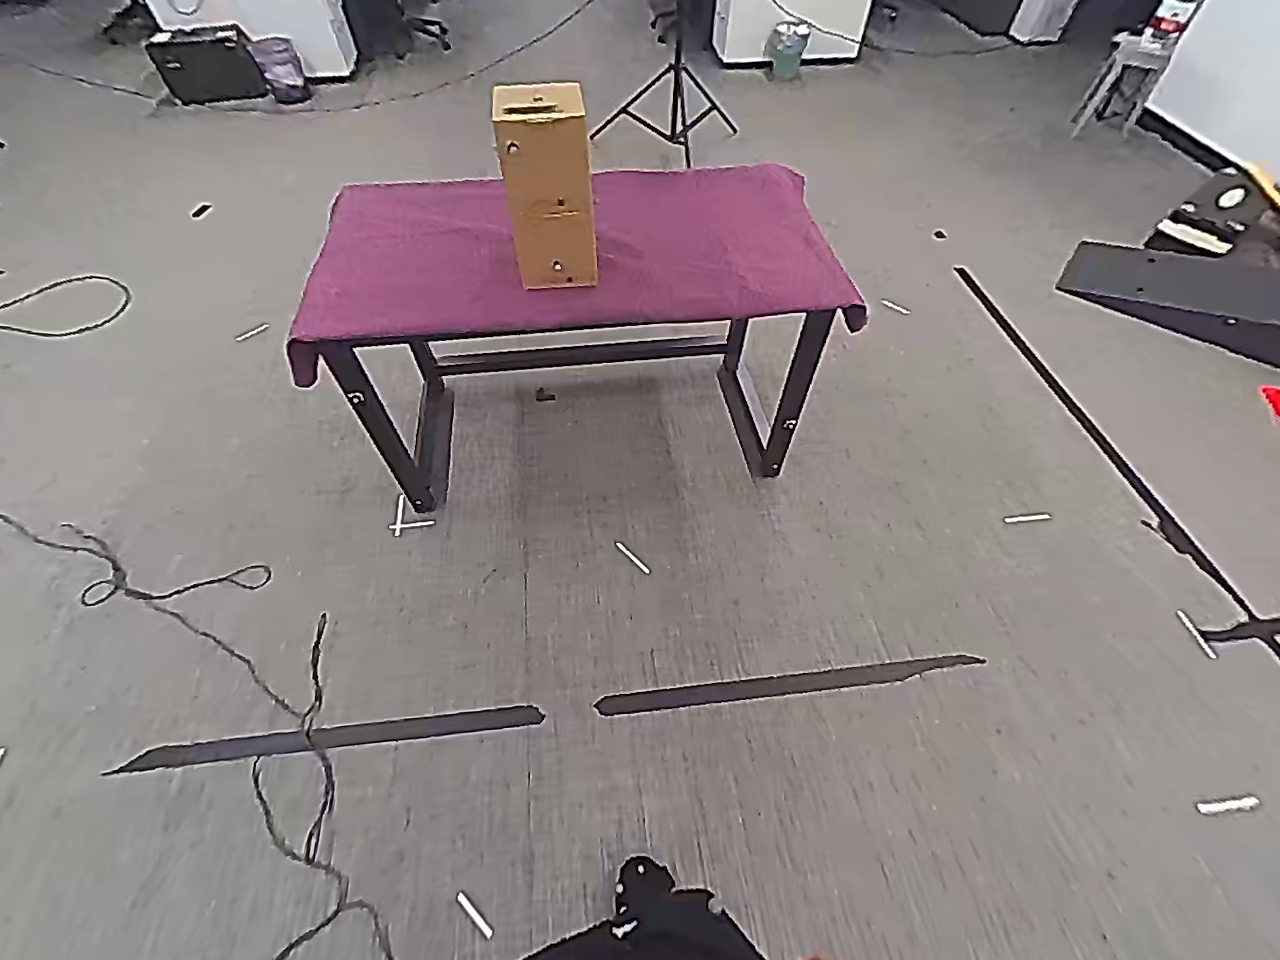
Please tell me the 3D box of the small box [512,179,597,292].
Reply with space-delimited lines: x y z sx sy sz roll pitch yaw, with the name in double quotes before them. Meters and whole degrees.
"small box" -0.183 -0.539 1.196 0.168 0.176 0.179 -4 53 -3
